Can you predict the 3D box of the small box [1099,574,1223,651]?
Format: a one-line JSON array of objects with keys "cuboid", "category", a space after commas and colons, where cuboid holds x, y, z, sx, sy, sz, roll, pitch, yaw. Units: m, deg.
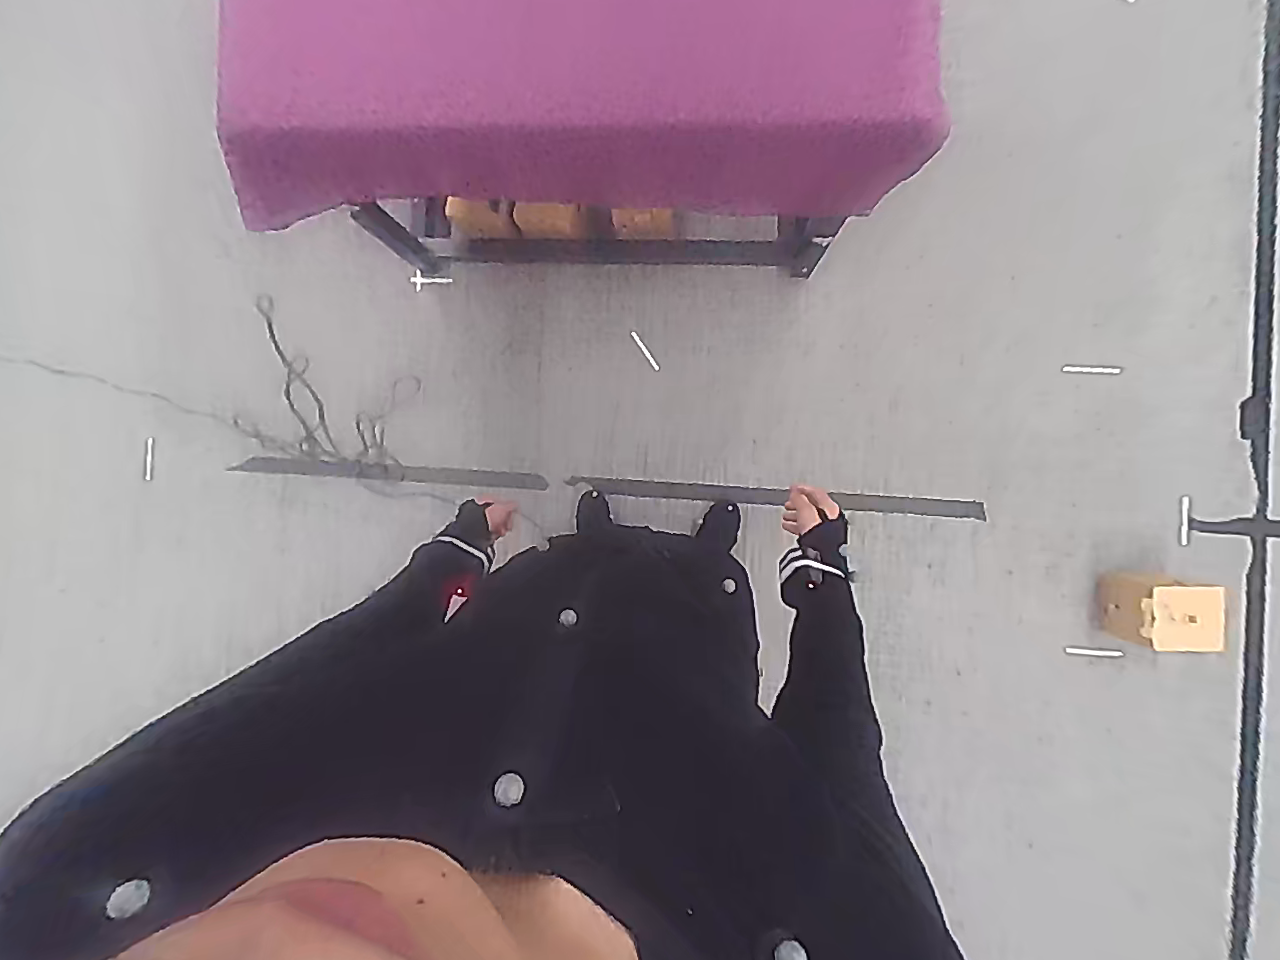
[{"cuboid": [1.386, 0.347, 1.445, 0.179, 0.176, 0.168, -1, 91, 5], "category": "small box"}]
